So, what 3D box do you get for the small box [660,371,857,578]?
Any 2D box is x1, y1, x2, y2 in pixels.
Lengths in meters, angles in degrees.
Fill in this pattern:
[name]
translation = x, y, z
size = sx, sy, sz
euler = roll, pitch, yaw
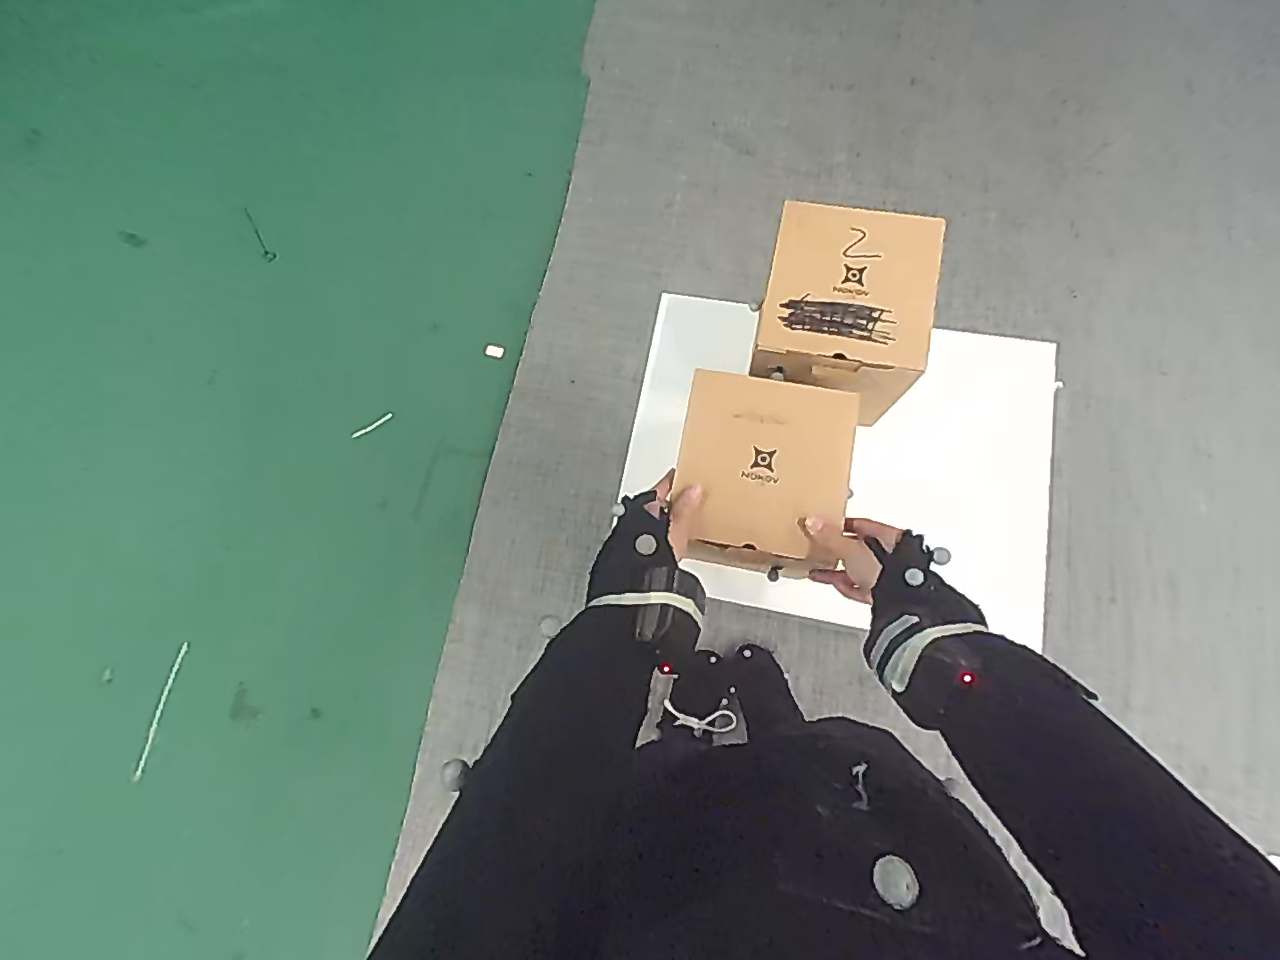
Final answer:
[small box]
translation = 0.121, 0.006, 0.595
size = 0.168, 0.176, 0.179
euler = 10, 76, 6
